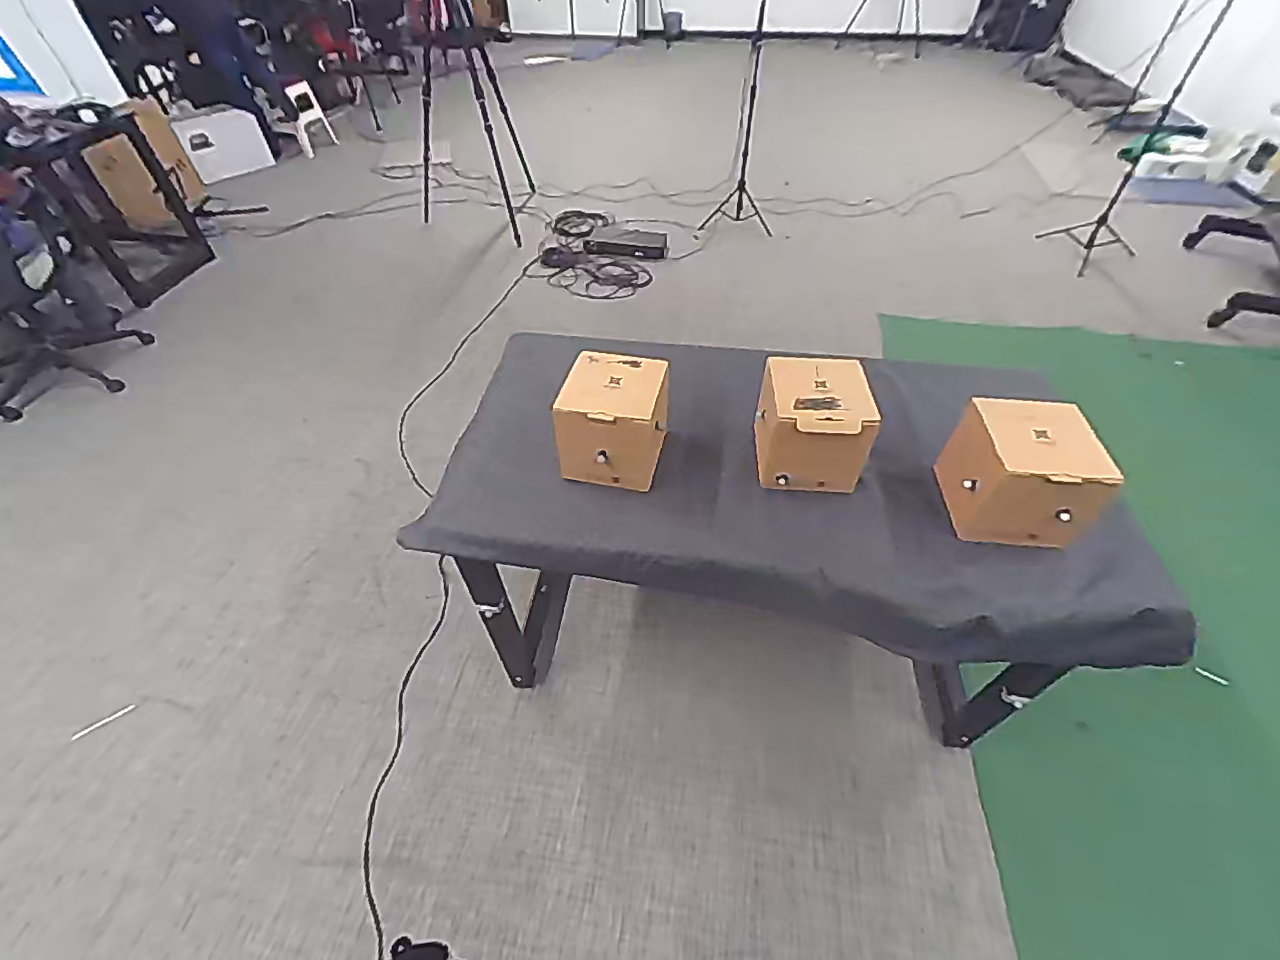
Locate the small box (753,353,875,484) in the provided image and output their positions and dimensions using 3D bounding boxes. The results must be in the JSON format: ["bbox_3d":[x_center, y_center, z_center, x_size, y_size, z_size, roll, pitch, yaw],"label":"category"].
[{"bbox_3d":[0.302,-0.109,0.978,0.168,0.176,0.179,3,47,3],"label":"small box"}]

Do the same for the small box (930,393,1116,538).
[{"bbox_3d":[0.614,-0.022,0.897,0.168,0.176,0.179,4,47,4],"label":"small box"}]

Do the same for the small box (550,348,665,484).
[{"bbox_3d":[-0.049,-0.114,0.986,0.168,0.176,0.179,9,48,8],"label":"small box"}]
